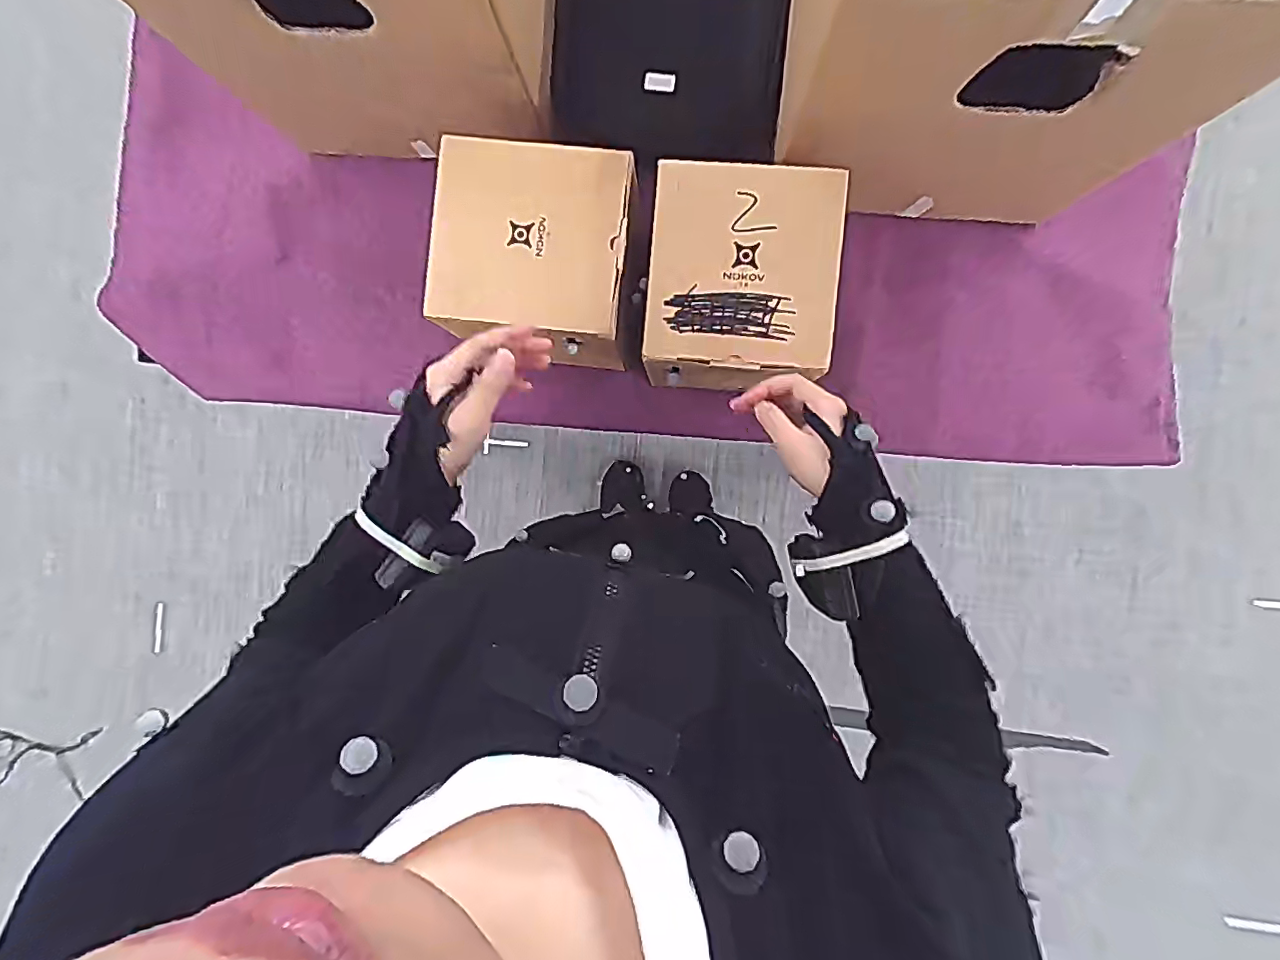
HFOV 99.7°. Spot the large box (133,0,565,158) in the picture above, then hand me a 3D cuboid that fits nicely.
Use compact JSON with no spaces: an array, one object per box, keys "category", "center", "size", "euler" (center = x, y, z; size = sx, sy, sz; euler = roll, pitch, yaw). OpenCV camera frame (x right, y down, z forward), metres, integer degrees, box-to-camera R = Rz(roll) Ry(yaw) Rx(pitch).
[{"category":"large box","center":[-0.243,-0.576,0.488],"size":[0.320,0.320,0.408],"euler":[3,95,4]}]
